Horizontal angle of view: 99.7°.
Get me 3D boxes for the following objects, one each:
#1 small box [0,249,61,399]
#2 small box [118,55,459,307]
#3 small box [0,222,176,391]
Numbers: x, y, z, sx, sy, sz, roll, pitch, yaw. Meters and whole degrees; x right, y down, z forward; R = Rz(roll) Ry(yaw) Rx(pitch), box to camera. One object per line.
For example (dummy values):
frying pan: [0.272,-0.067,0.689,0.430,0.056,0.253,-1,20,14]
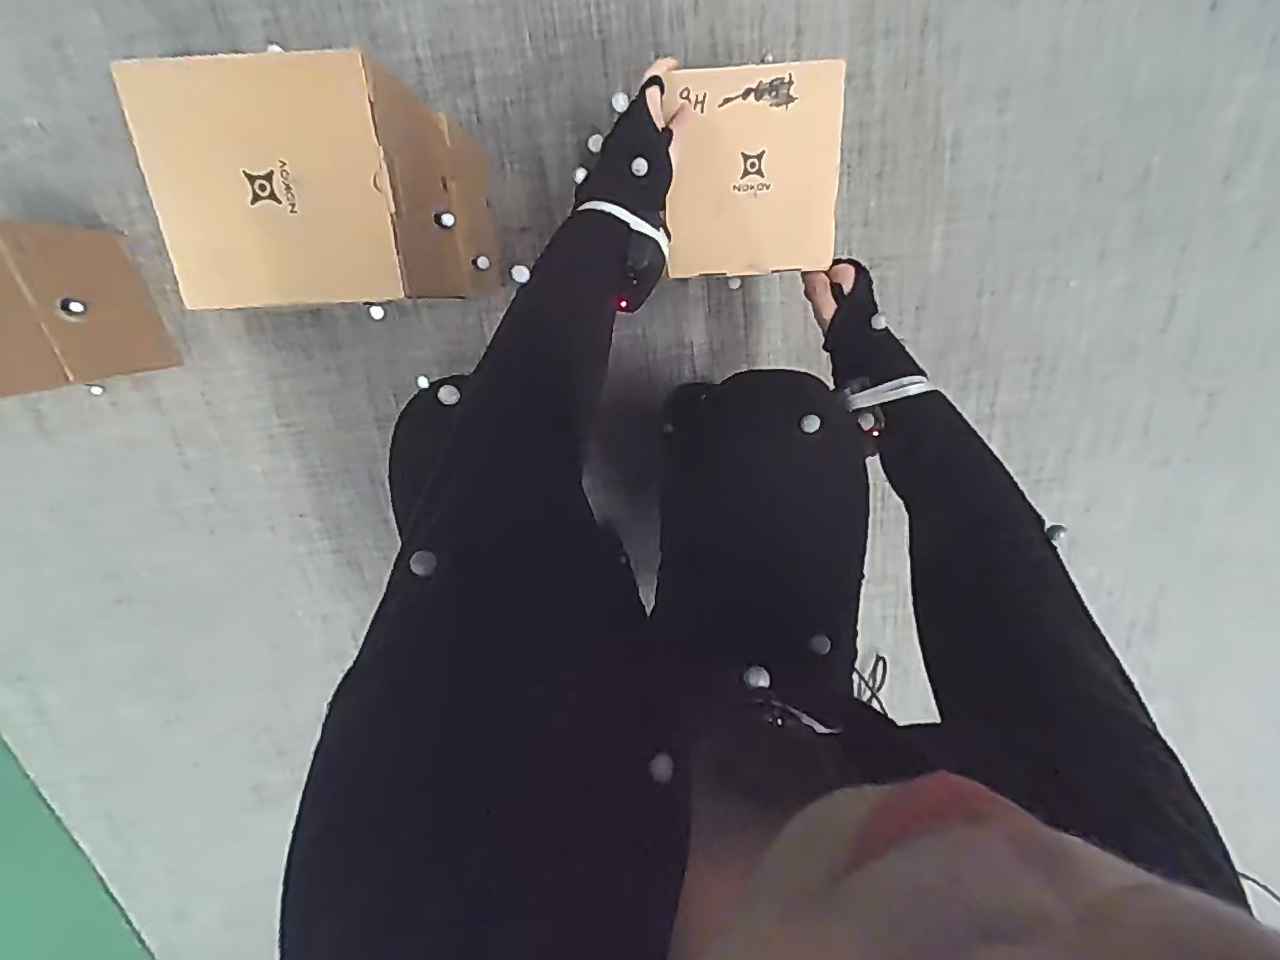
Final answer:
small box: [-0.725,-0.147,0.503,0.168,0.176,0.179,-10,109,0]
small box: [-0.282,-0.244,0.483,0.179,0.176,0.168,-3,109,-1]
small box: [-0.729,-0.204,0.657,0.168,0.176,0.179,-8,109,0]
